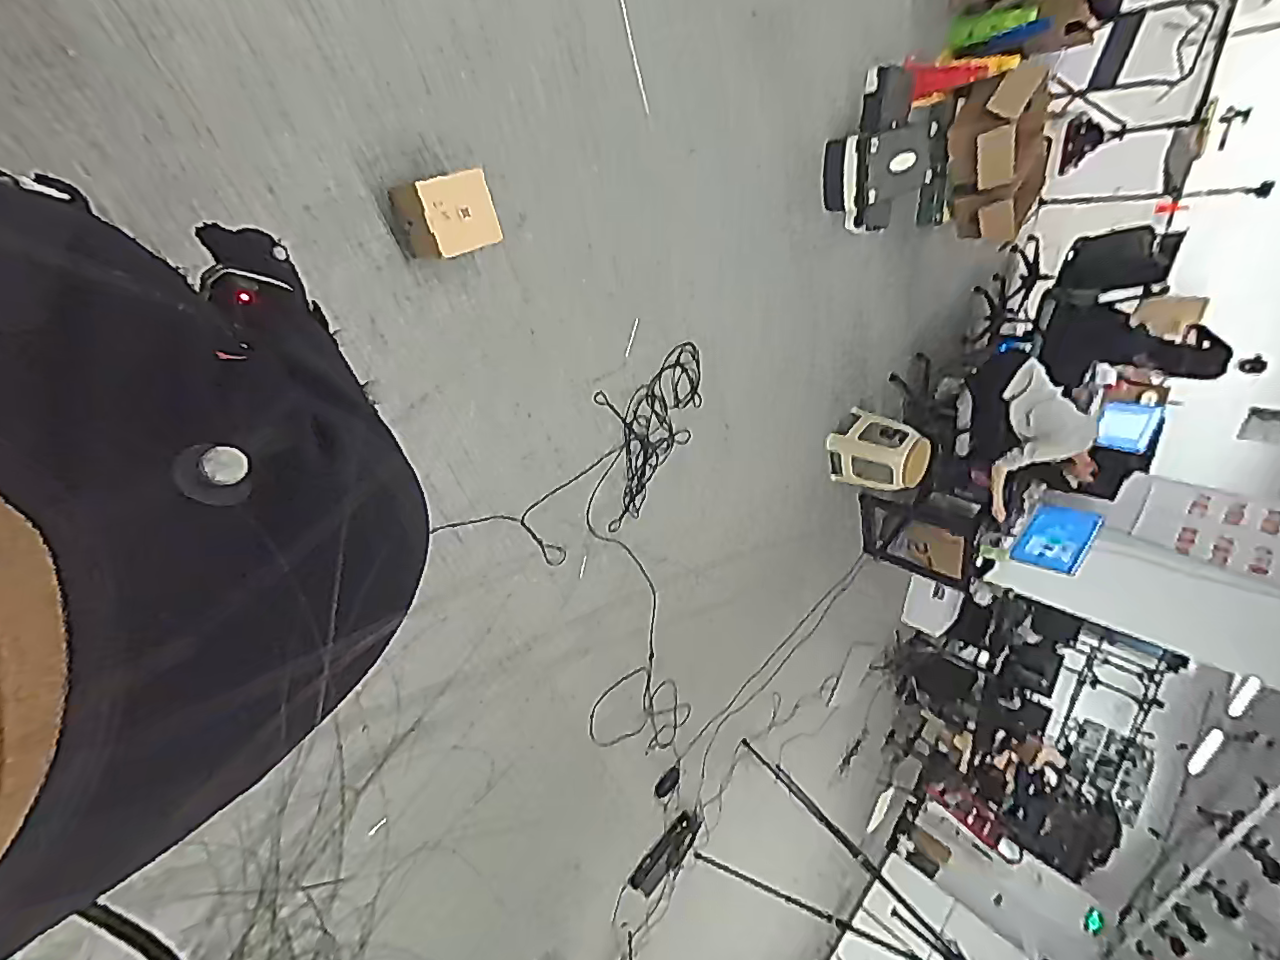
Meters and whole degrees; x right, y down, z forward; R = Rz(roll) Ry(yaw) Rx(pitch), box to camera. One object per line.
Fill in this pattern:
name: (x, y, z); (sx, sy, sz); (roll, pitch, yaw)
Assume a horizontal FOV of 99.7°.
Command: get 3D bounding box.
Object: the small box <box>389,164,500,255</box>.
small box: (-0.480, -0.664, 1.331); (0.179, 0.176, 0.168); (-34, 128, -29)
